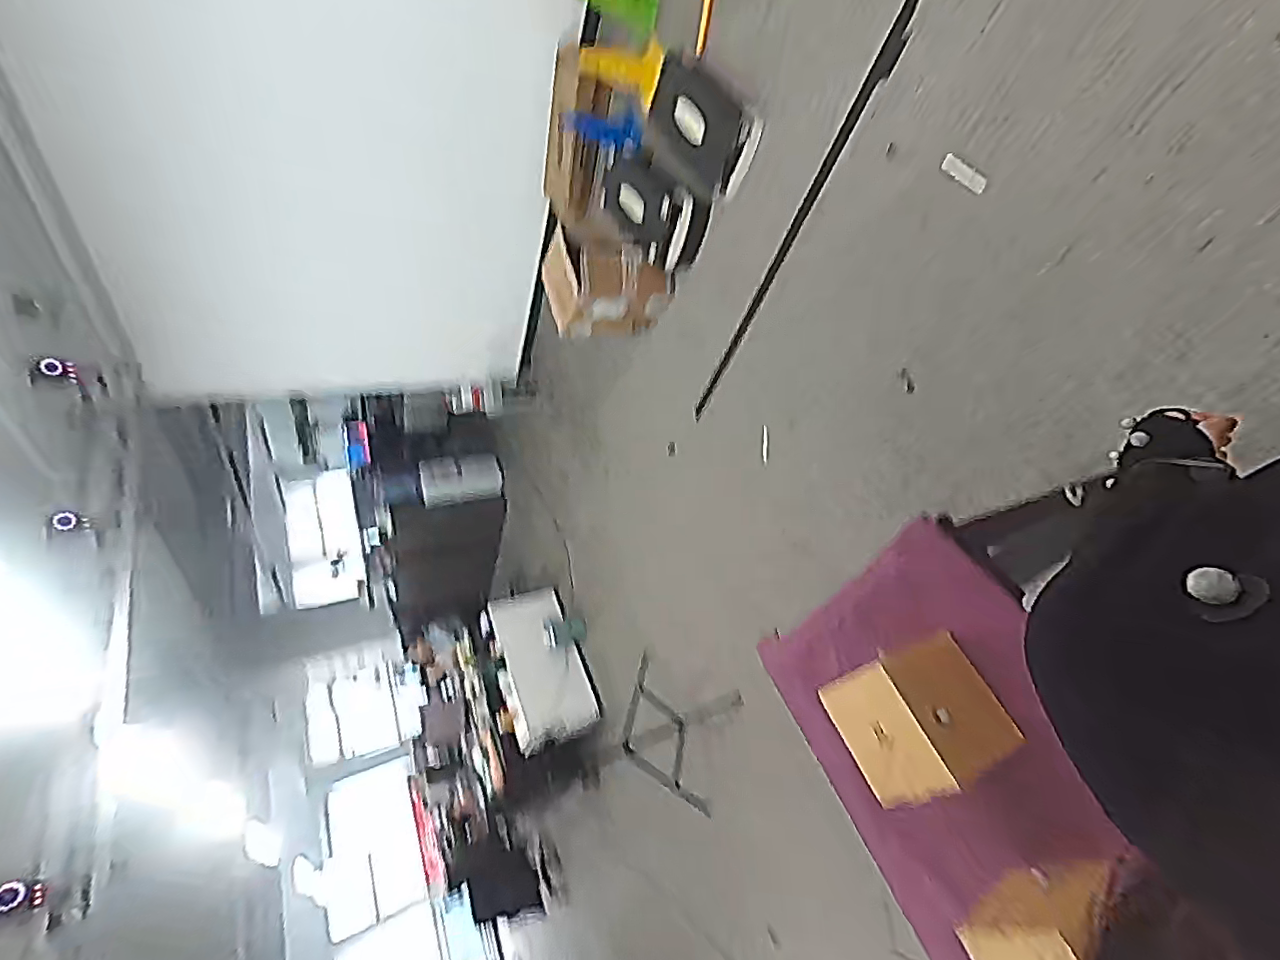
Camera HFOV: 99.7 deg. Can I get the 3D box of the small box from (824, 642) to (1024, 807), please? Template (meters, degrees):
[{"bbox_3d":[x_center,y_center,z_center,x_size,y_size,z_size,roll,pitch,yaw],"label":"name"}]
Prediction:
[{"bbox_3d":[0.433,0.370,0.838,0.179,0.176,0.168,62,147,28],"label":"small box"}]

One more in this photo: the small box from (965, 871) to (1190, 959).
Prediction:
[{"bbox_3d":[0.569,0.629,0.673,0.179,0.176,0.168,64,147,28],"label":"small box"}]
